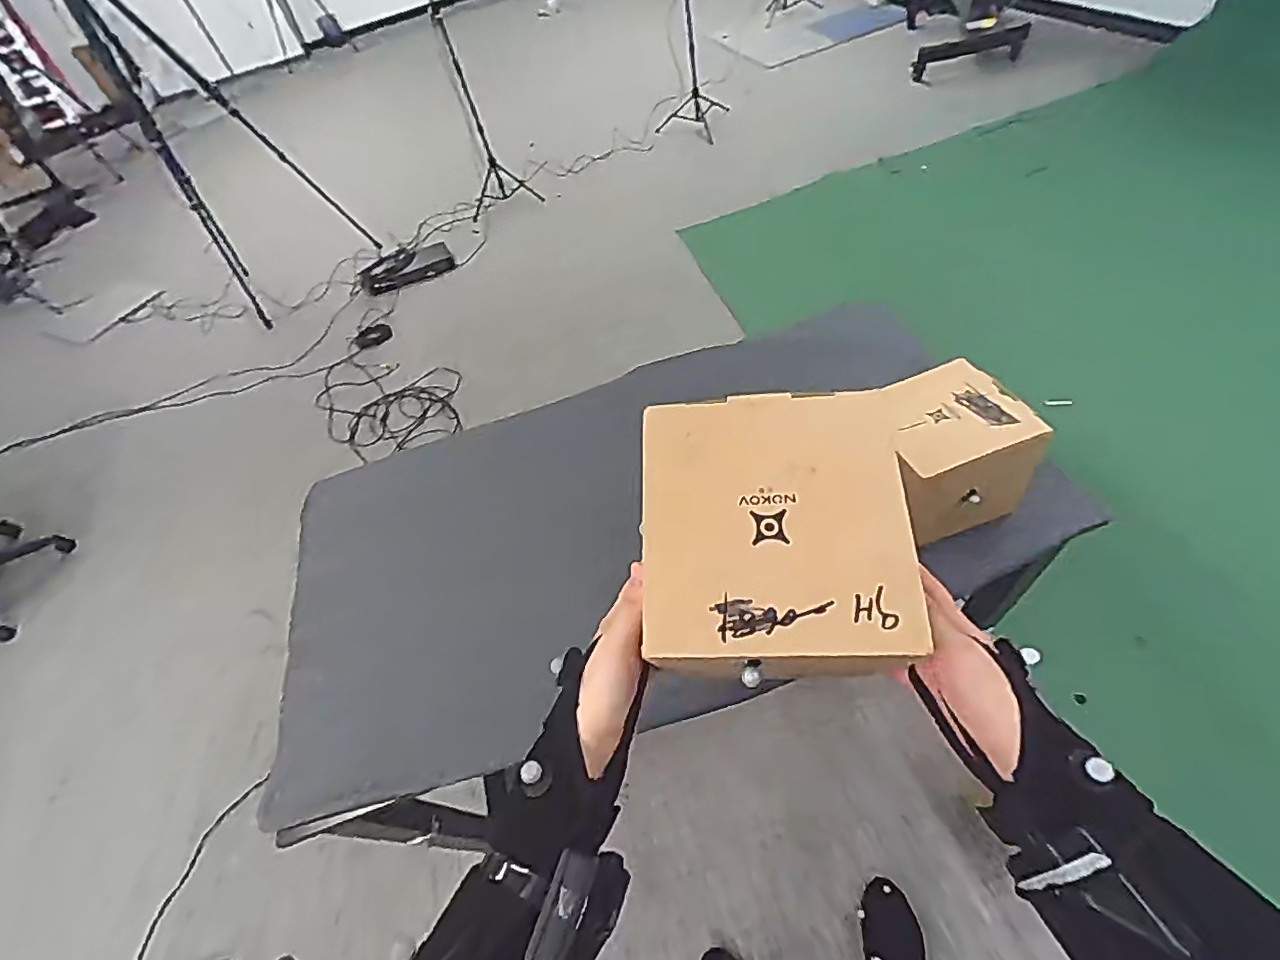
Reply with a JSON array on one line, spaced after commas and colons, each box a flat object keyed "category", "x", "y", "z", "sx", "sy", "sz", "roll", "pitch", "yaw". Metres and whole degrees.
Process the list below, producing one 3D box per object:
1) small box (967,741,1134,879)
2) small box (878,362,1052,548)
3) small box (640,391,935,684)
[{"category": "small box", "x": 0.802, "y": 0.659, "z": 1.081, "sx": 0.168, "sy": 0.176, "sz": 0.179, "roll": -27, "pitch": 52, "yaw": -8}, {"category": "small box", "x": 0.413, "y": -0.030, "z": 0.760, "sx": 0.179, "sy": 0.176, "sz": 0.168, "roll": -21, "pitch": 47, "yaw": -1}, {"category": "small box", "x": 0.096, "y": 0.054, "z": 0.411, "sx": 0.168, "sy": 0.176, "sz": 0.179, "roll": -3, "pitch": 66, "yaw": 10}]
